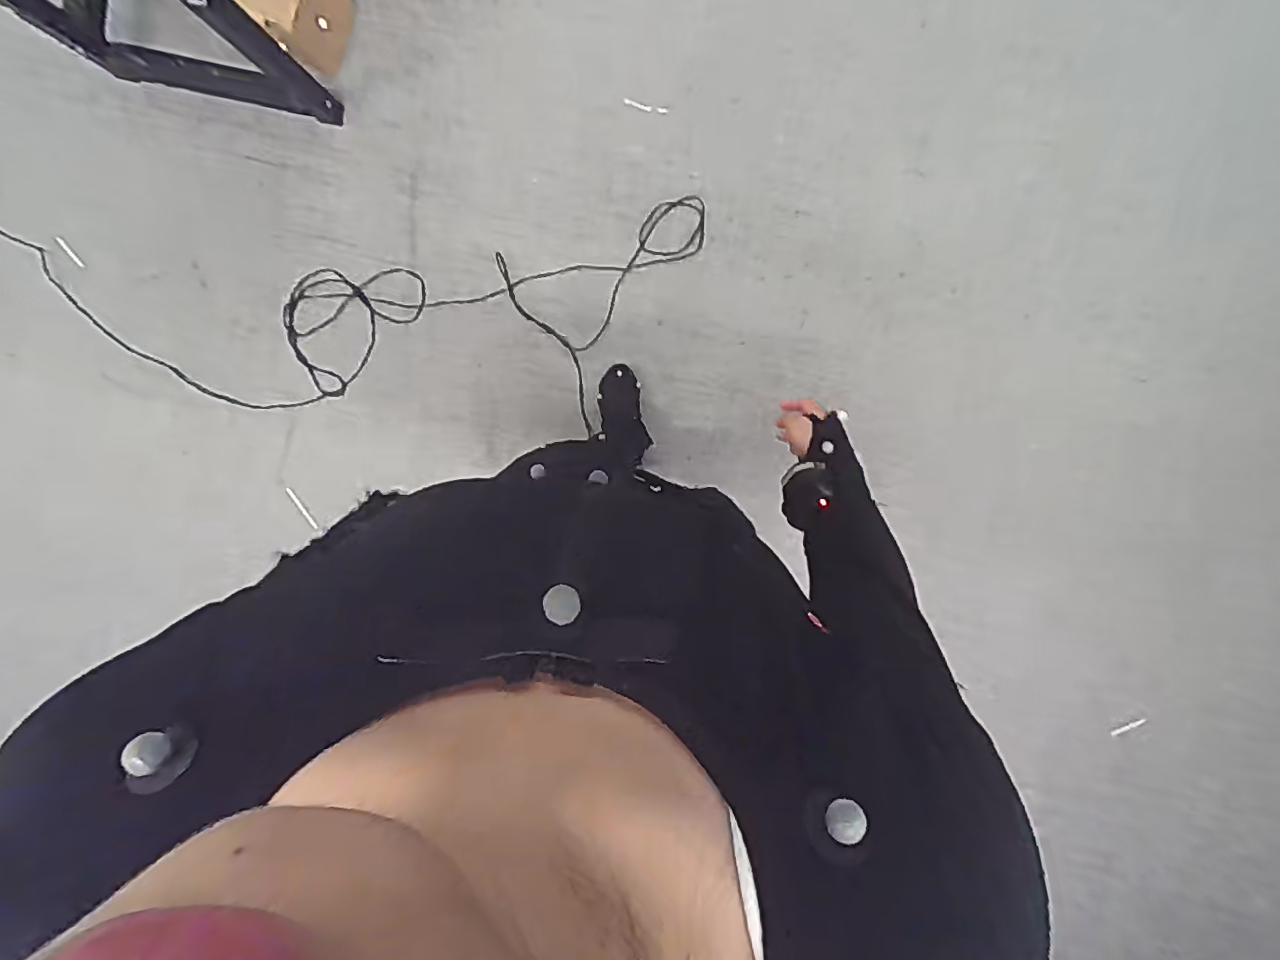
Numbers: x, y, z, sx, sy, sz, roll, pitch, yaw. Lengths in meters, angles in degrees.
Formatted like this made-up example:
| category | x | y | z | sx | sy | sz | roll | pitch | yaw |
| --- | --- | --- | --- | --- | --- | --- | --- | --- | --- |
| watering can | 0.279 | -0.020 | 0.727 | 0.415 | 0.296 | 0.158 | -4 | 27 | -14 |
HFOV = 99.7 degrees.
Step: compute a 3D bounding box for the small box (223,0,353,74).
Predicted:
| category | x | y | z | sx | sy | sz | roll | pitch | yaw |
| --- | --- | --- | --- | --- | --- | --- | --- | --- | --- |
| small box | -0.806 | -1.104 | 1.256 | 0.168 | 0.176 | 0.179 | 25 | 98 | -3 |
